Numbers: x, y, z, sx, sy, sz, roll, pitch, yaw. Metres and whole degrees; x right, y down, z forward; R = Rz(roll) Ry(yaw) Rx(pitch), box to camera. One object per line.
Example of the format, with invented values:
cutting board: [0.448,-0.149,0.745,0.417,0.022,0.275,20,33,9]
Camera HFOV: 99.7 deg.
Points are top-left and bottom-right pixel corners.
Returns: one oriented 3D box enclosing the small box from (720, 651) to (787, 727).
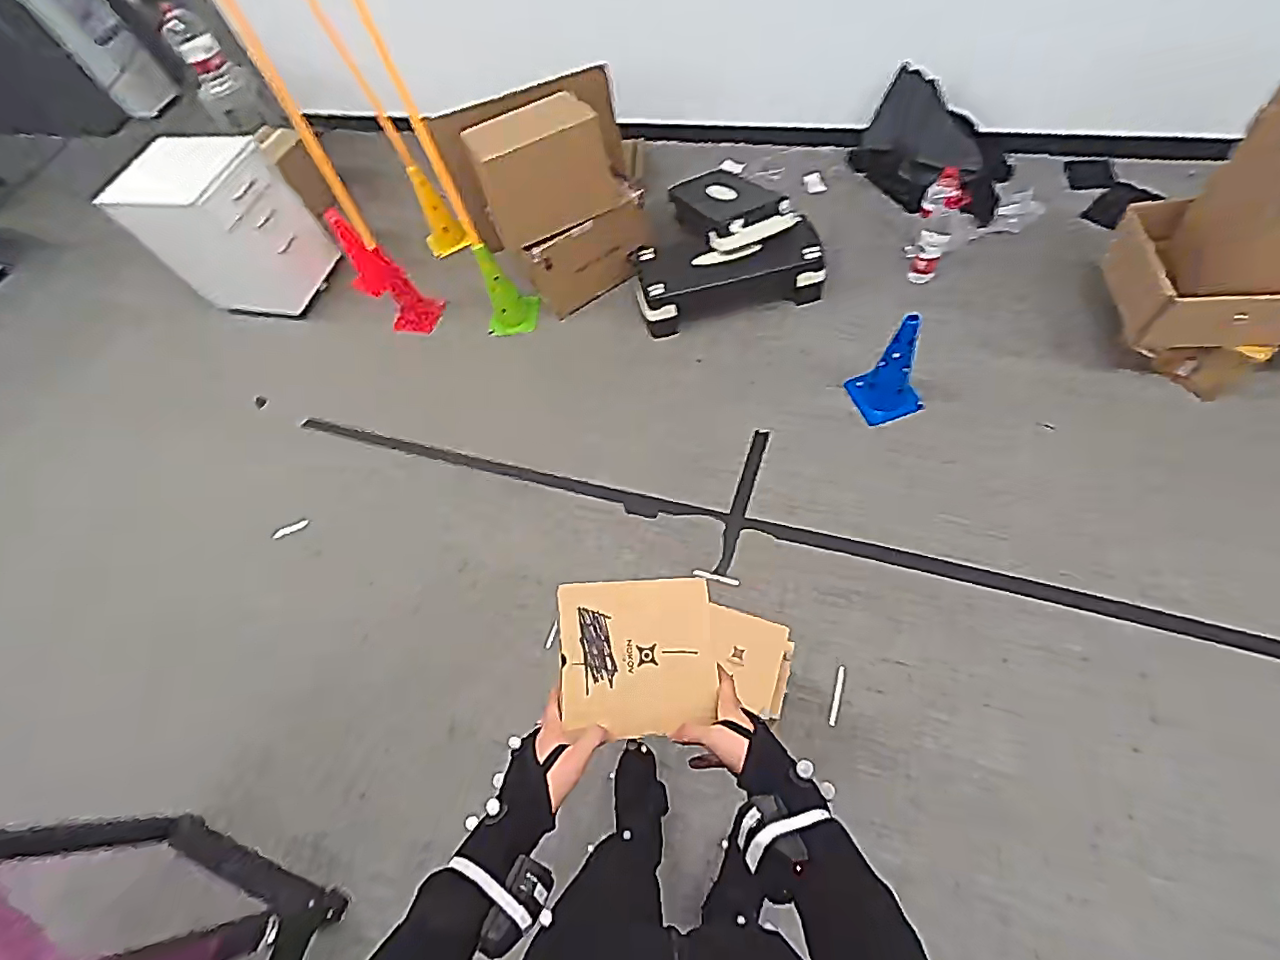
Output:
small box: [0.273,0.515,1.378,0.168,0.176,0.179,10,64,16]

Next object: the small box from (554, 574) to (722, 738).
small box: [-0.009,0.218,0.666,0.179,0.176,0.168,-3,68,-5]

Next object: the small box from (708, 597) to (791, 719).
small box: [0.196,0.363,1.094,0.168,0.176,0.179,16,67,17]
